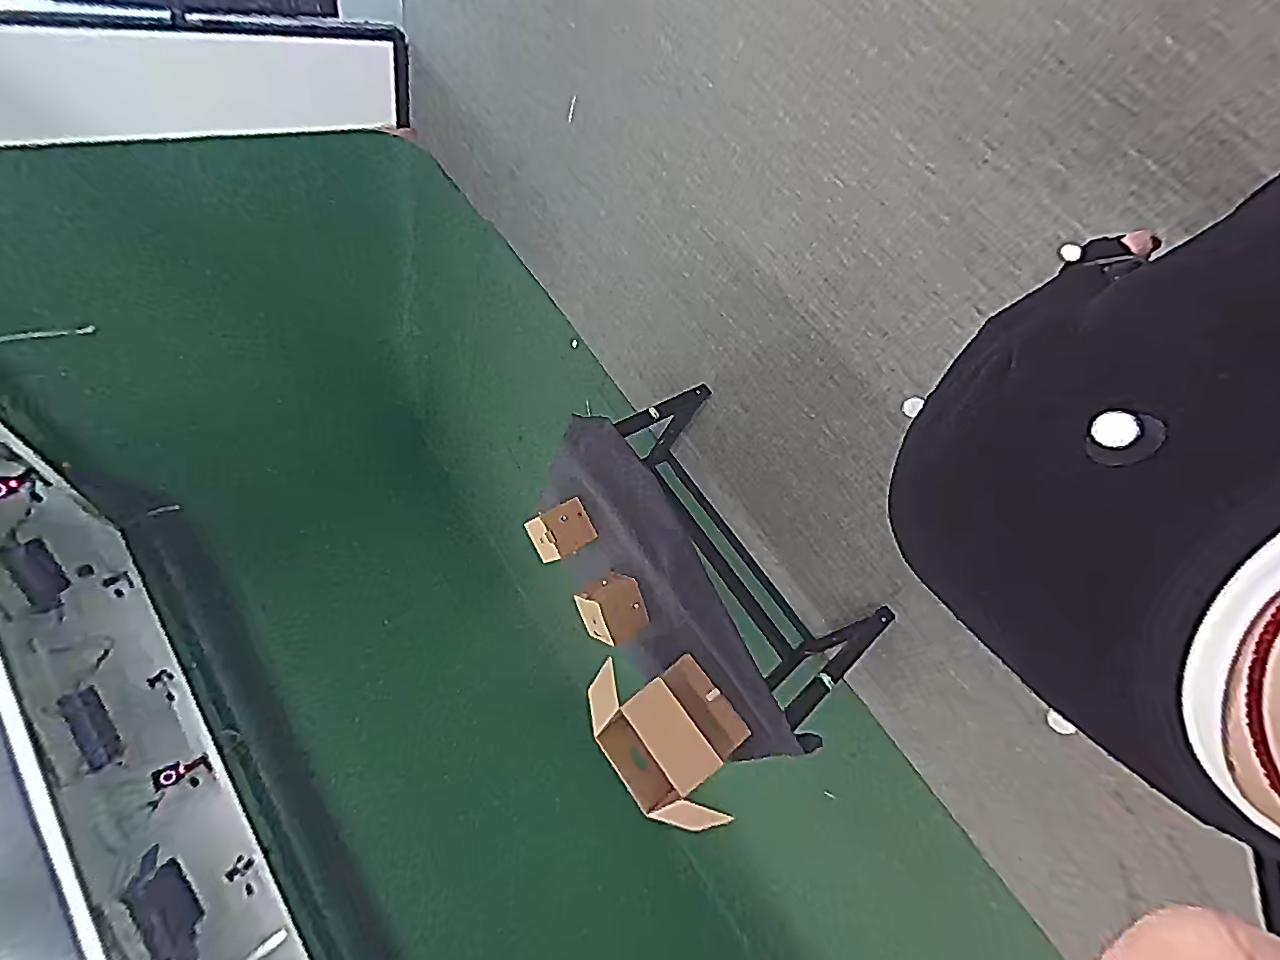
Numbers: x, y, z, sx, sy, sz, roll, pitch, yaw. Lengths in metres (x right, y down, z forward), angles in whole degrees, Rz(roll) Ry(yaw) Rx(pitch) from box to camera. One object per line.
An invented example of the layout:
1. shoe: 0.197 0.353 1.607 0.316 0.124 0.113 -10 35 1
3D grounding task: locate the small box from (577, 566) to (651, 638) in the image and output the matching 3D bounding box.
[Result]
1. small box: -0.090 0.422 1.904 0.168 0.176 0.179 3 115 53

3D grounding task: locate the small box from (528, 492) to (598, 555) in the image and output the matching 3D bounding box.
1. small box: -0.275 0.156 1.972 0.179 0.176 0.168 -25 91 58
